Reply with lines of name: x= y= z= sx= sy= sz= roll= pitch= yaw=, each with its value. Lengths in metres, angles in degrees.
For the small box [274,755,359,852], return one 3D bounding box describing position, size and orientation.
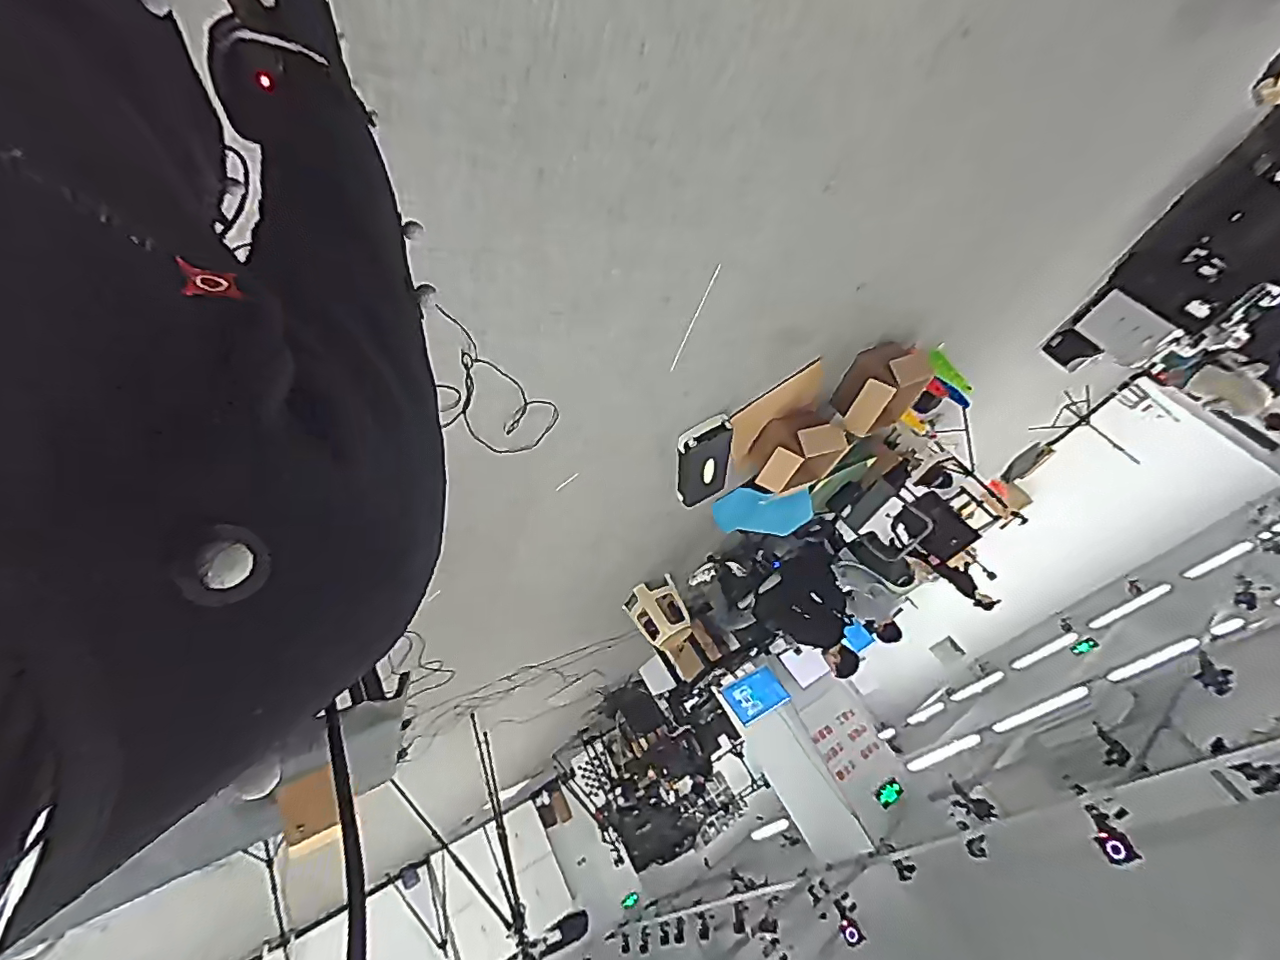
small box: x=-0.935 y=0.931 z=1.567 sx=0.179 sy=0.176 sz=0.168 roll=-13 pitch=147 yaw=-34
